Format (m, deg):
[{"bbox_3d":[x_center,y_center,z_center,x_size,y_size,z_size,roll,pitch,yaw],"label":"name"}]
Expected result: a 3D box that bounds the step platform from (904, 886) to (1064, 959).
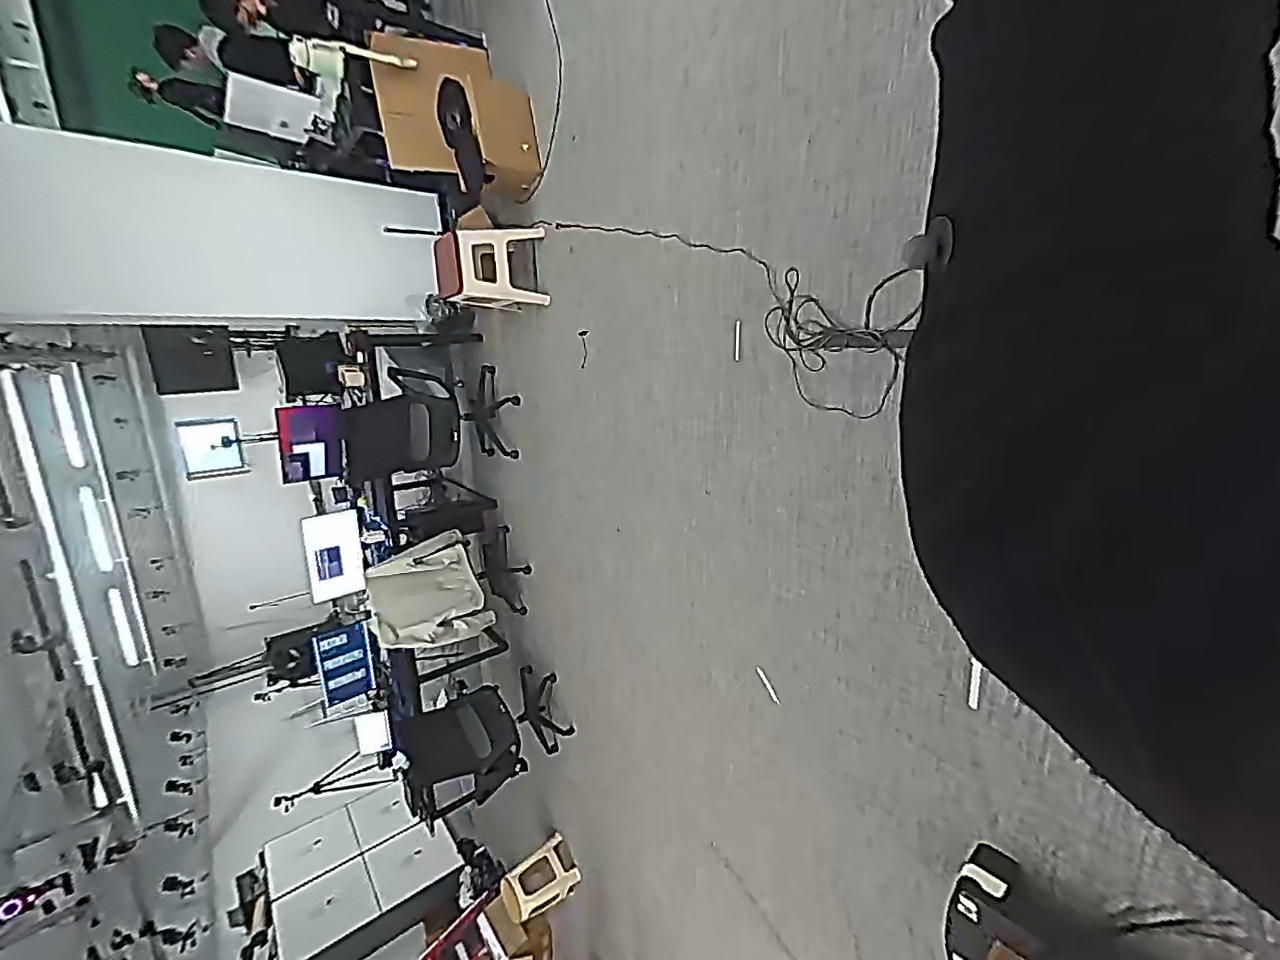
[{"bbox_3d":[0.945,1.242,1.150,0.684,0.204,0.286,14,111,50],"label":"step platform"}]
